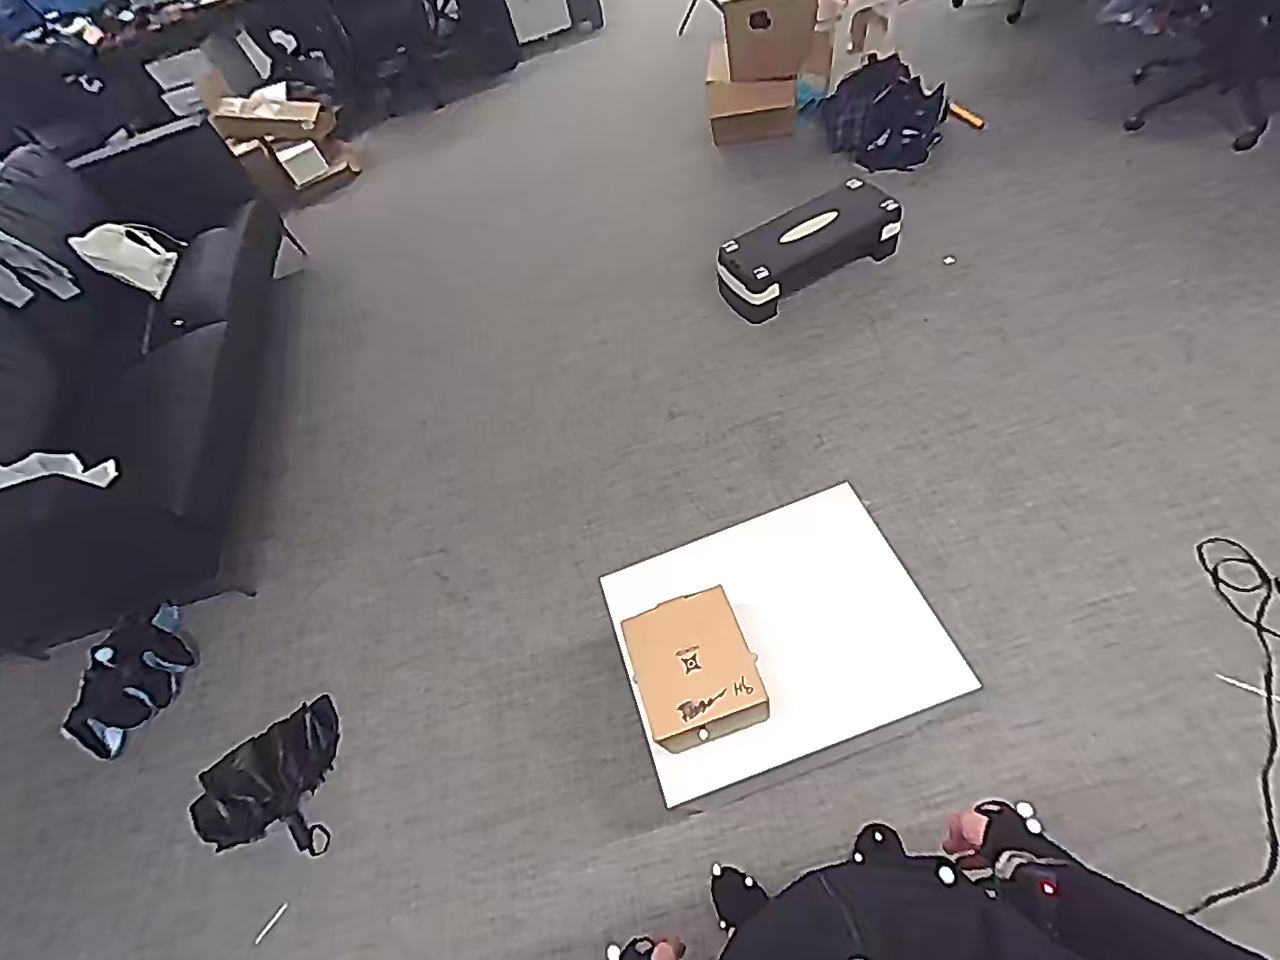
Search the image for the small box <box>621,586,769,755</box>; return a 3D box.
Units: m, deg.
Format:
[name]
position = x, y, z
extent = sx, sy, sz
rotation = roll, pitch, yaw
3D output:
[small box]
position = 0.084, 0.295, 0.827
extent = 0.168, 0.176, 0.179
rotation = -21, 55, -1
